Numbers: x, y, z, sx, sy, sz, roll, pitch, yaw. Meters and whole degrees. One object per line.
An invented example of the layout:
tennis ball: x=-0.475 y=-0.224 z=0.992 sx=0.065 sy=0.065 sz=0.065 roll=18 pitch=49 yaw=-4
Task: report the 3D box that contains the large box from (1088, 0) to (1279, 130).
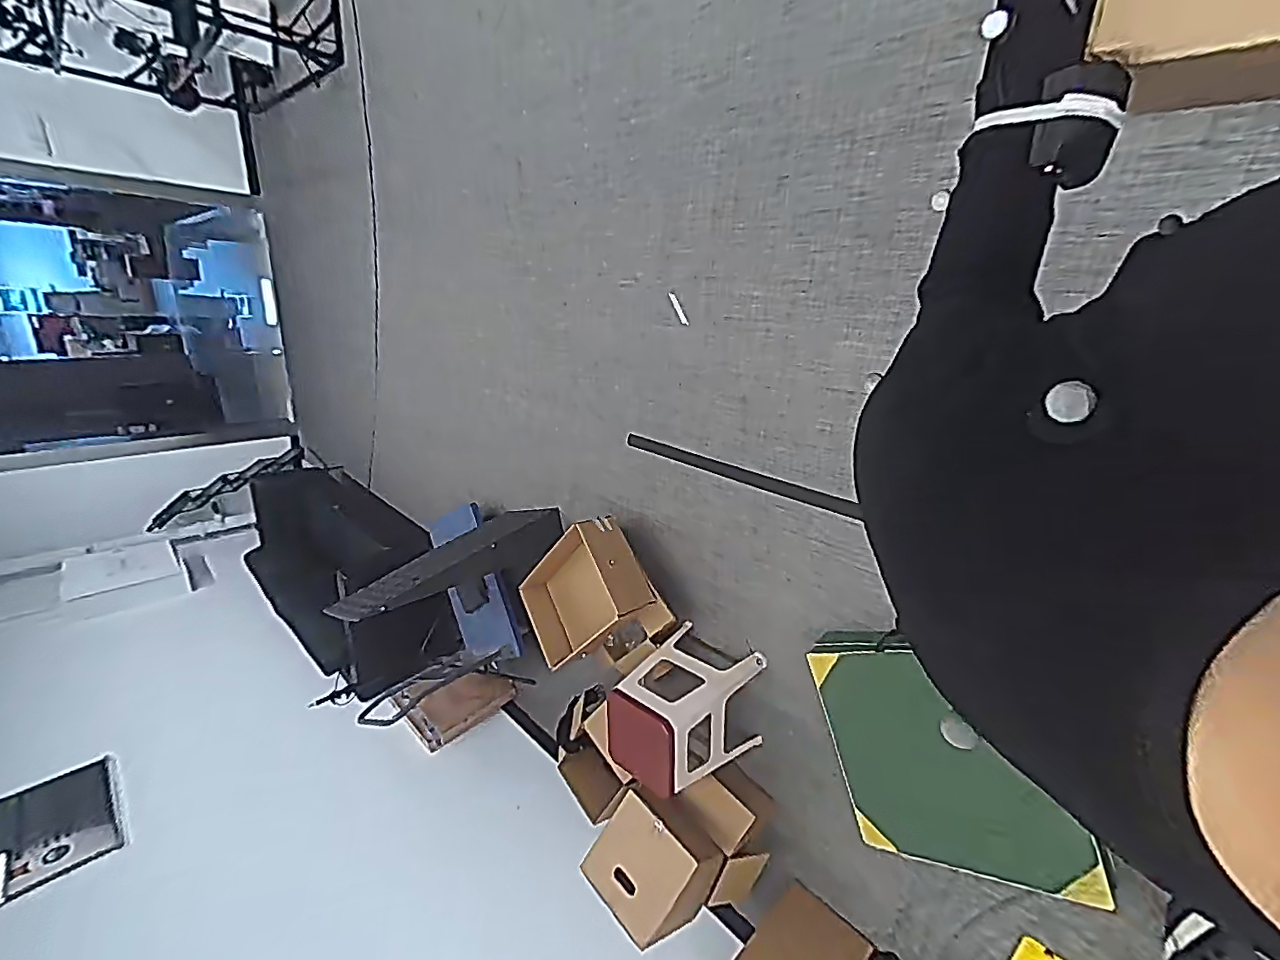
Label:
large box: x=0.558 y=-0.422 z=0.305 sx=0.408 sy=0.320 sz=0.320 roll=19 pitch=123 yaw=38
